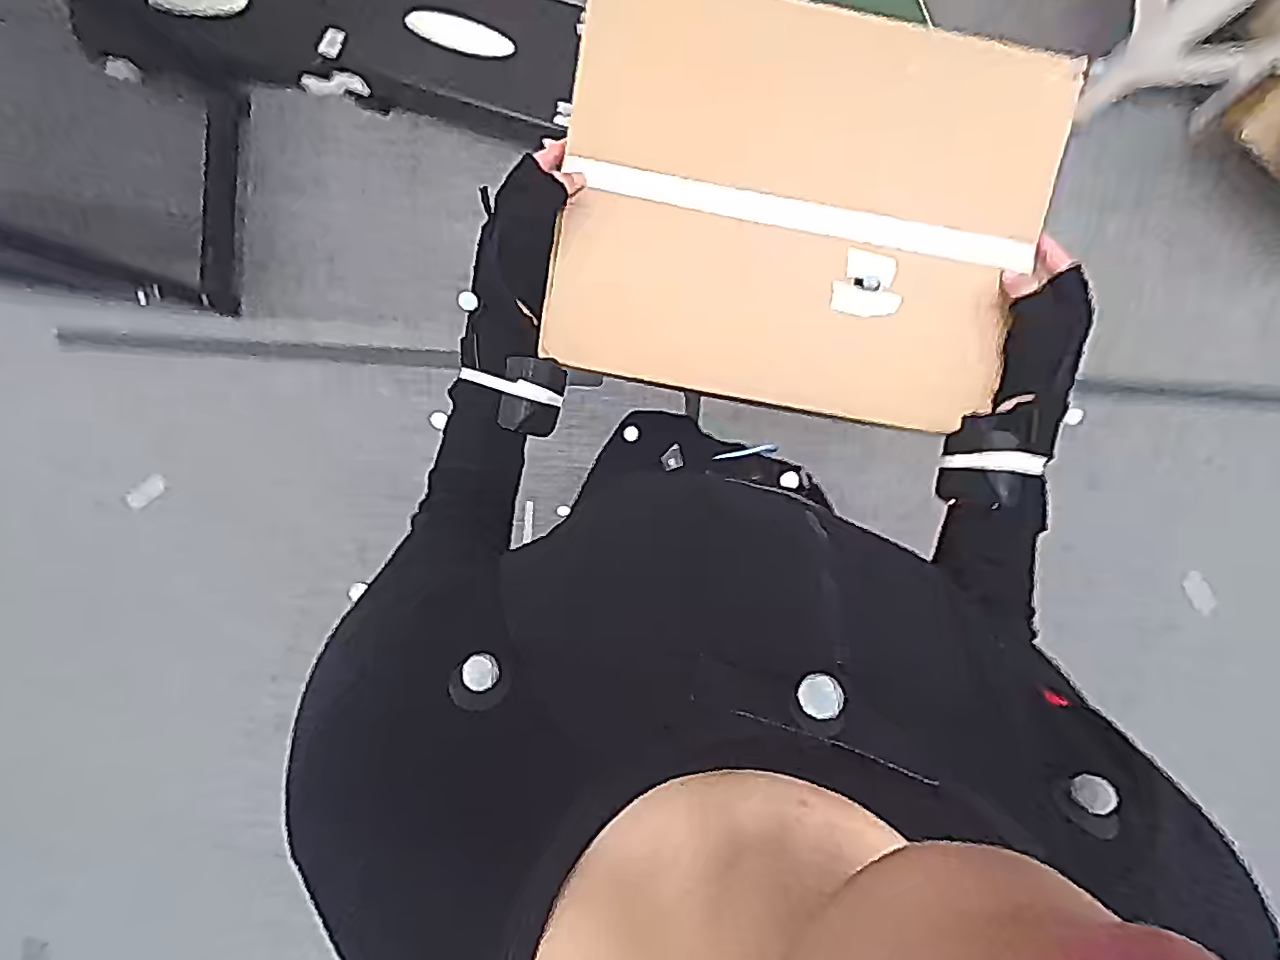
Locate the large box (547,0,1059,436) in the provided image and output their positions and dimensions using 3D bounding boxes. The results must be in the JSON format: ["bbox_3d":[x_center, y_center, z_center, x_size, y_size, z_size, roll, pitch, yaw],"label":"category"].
[{"bbox_3d":[0.130,-0.245,0.618,0.408,0.320,0.320,11,100,-3],"label":"large box"}]
